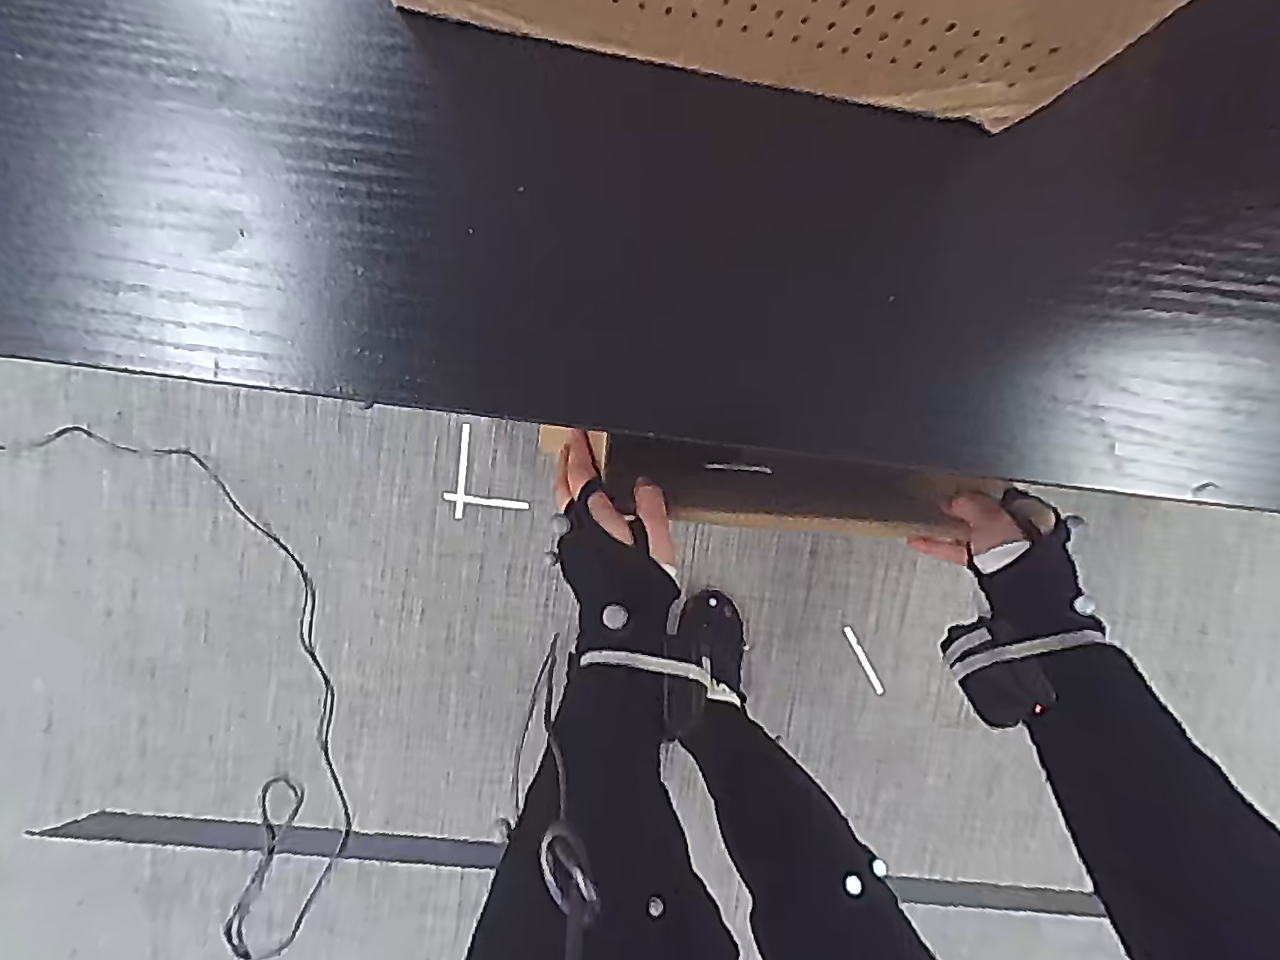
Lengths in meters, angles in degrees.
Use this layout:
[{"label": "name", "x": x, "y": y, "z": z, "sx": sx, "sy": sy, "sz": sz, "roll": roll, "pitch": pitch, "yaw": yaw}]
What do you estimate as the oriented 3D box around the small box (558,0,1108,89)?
[{"label": "small box", "x": 0.043, "y": -0.188, "z": 0.060, "sx": 0.179, "sy": 0.176, "sz": 0.168, "roll": 7, "pitch": 94, "yaw": -6}]
